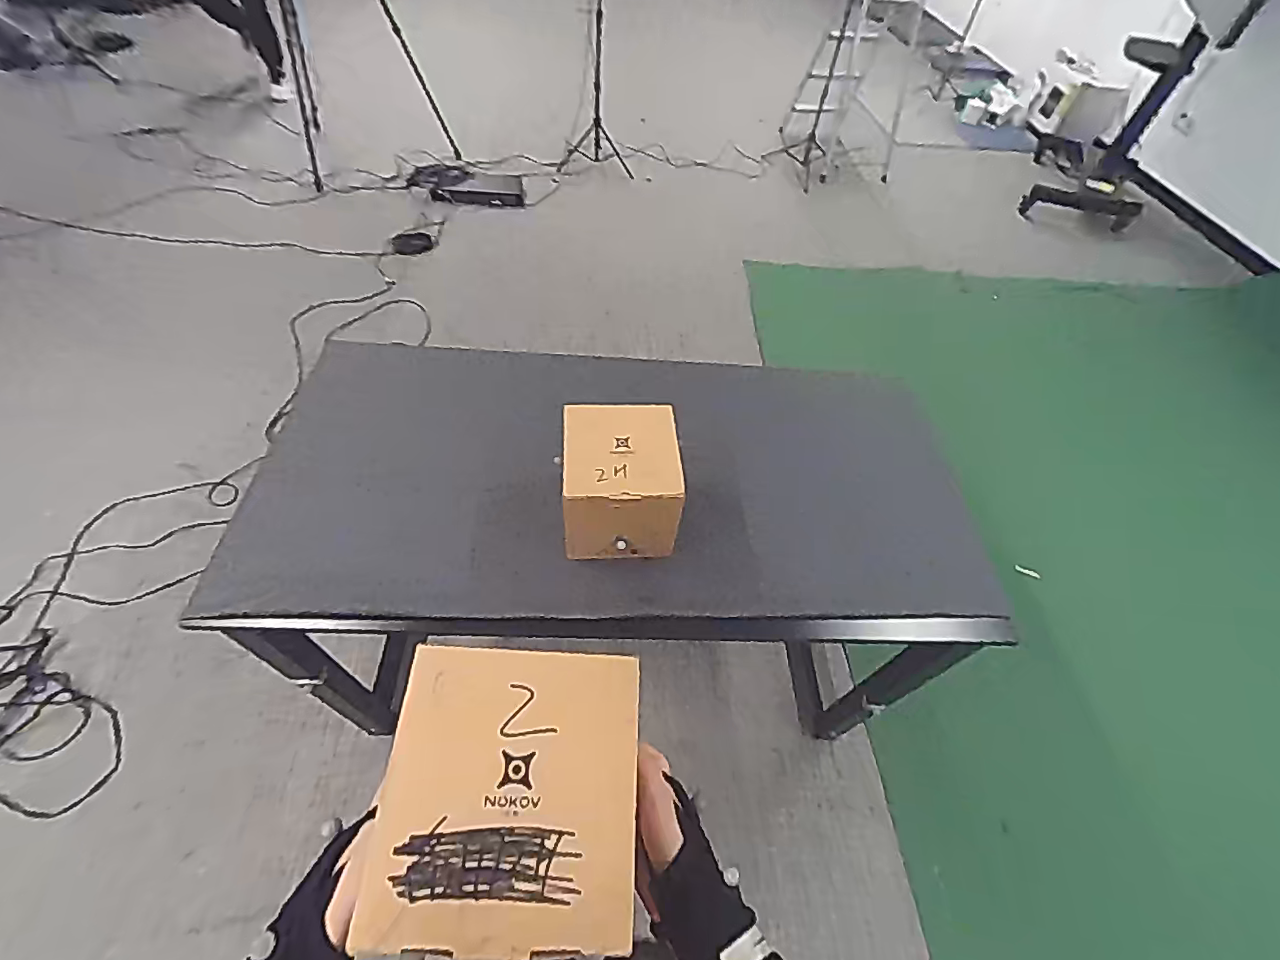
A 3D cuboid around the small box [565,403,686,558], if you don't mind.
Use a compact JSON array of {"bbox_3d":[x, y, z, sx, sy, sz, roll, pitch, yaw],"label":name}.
[{"bbox_3d":[-0.031,0.001,0.830,0.168,0.176,0.179,-1,52,-6],"label":"small box"}]
